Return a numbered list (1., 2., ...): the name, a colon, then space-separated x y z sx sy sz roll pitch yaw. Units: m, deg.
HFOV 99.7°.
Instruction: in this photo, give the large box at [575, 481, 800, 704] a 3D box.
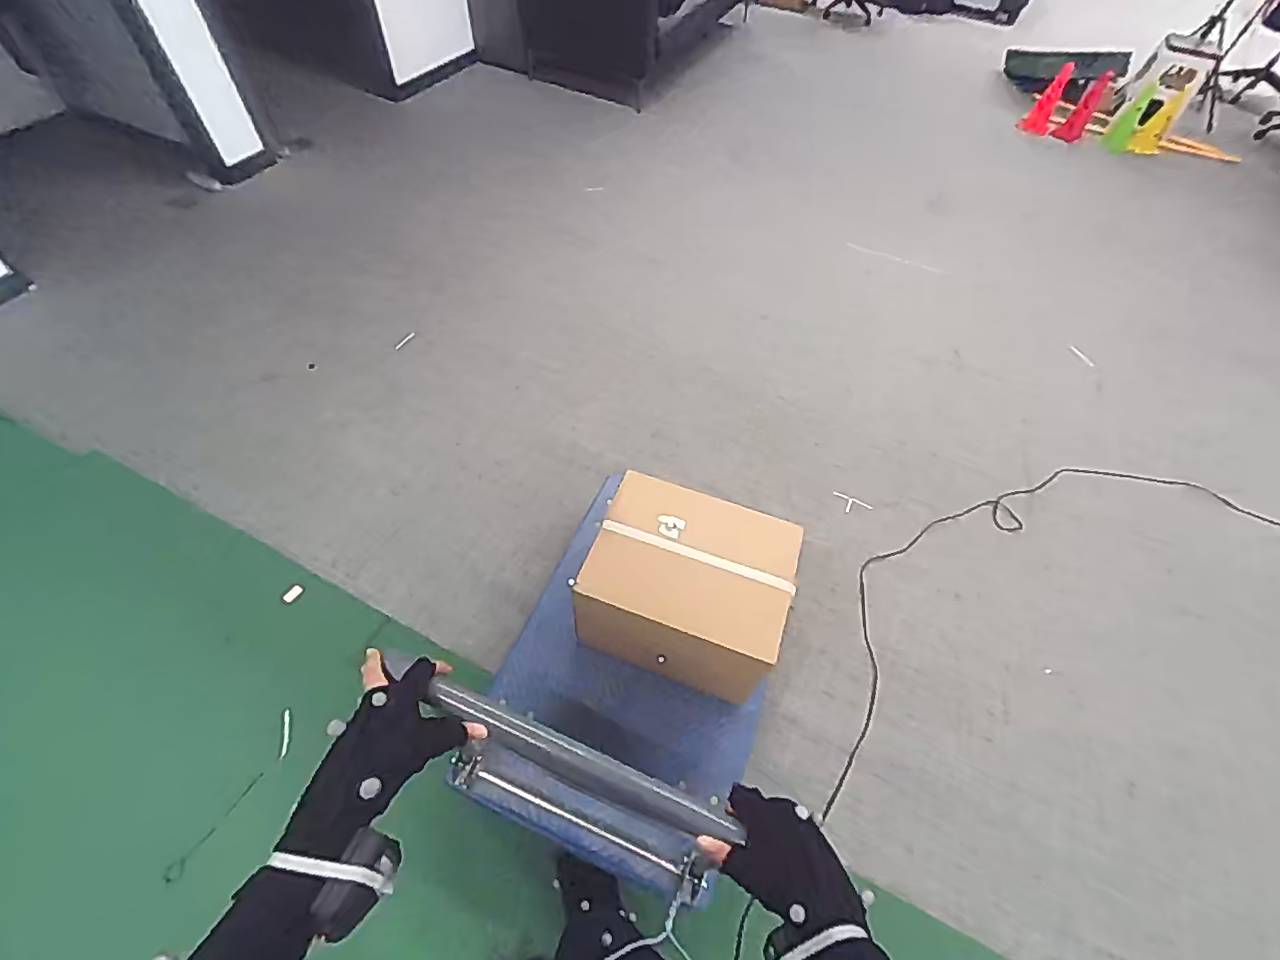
1. large box: 0.104 0.257 1.216 0.408 0.320 0.320 17 54 9
